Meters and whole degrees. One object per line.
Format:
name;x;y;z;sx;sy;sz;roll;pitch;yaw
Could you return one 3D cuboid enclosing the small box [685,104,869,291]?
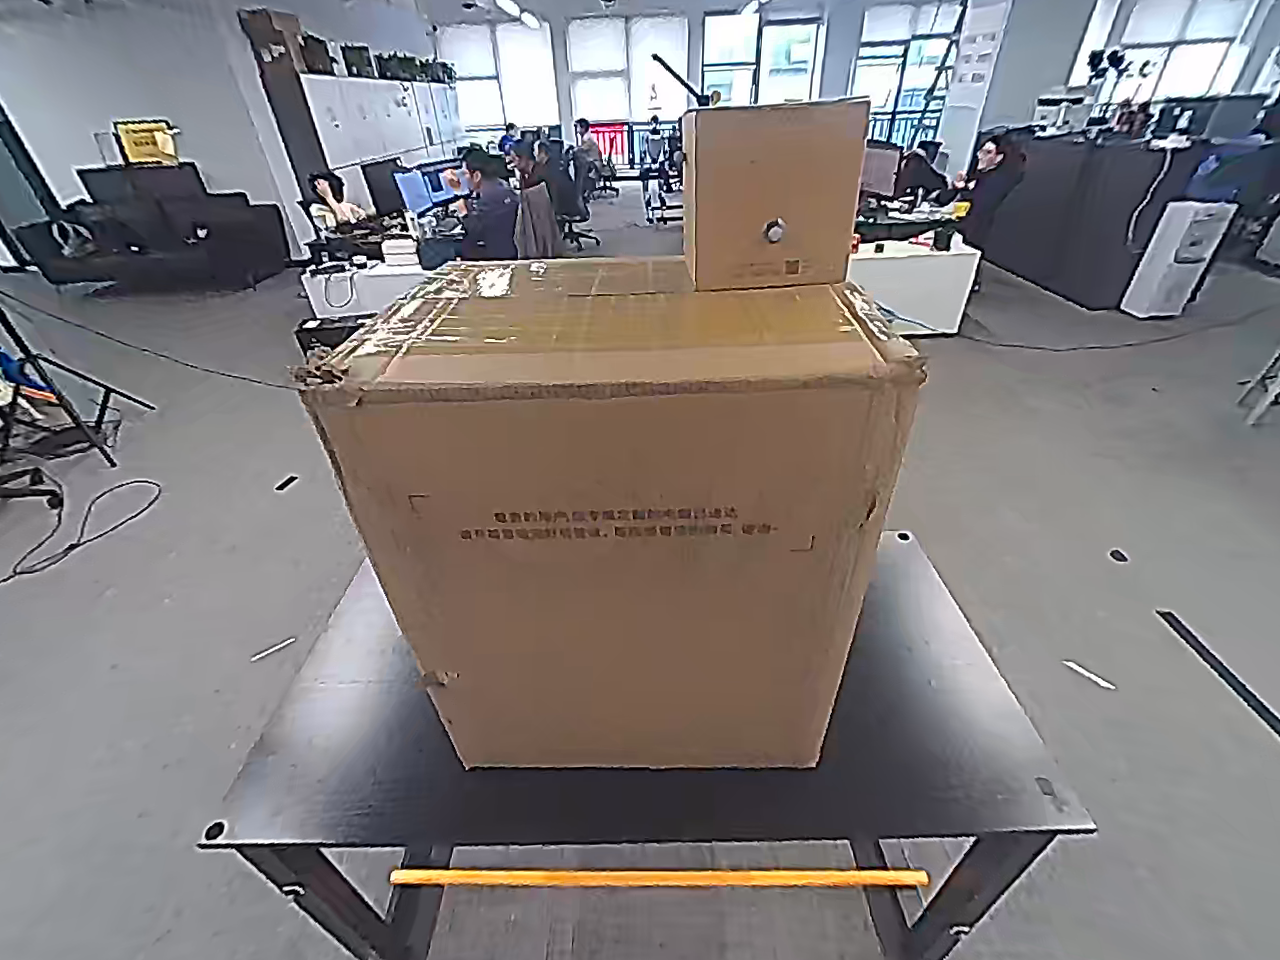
small box;0.138;-0.321;0.619;0.168;0.176;0.179;-3;33;2
